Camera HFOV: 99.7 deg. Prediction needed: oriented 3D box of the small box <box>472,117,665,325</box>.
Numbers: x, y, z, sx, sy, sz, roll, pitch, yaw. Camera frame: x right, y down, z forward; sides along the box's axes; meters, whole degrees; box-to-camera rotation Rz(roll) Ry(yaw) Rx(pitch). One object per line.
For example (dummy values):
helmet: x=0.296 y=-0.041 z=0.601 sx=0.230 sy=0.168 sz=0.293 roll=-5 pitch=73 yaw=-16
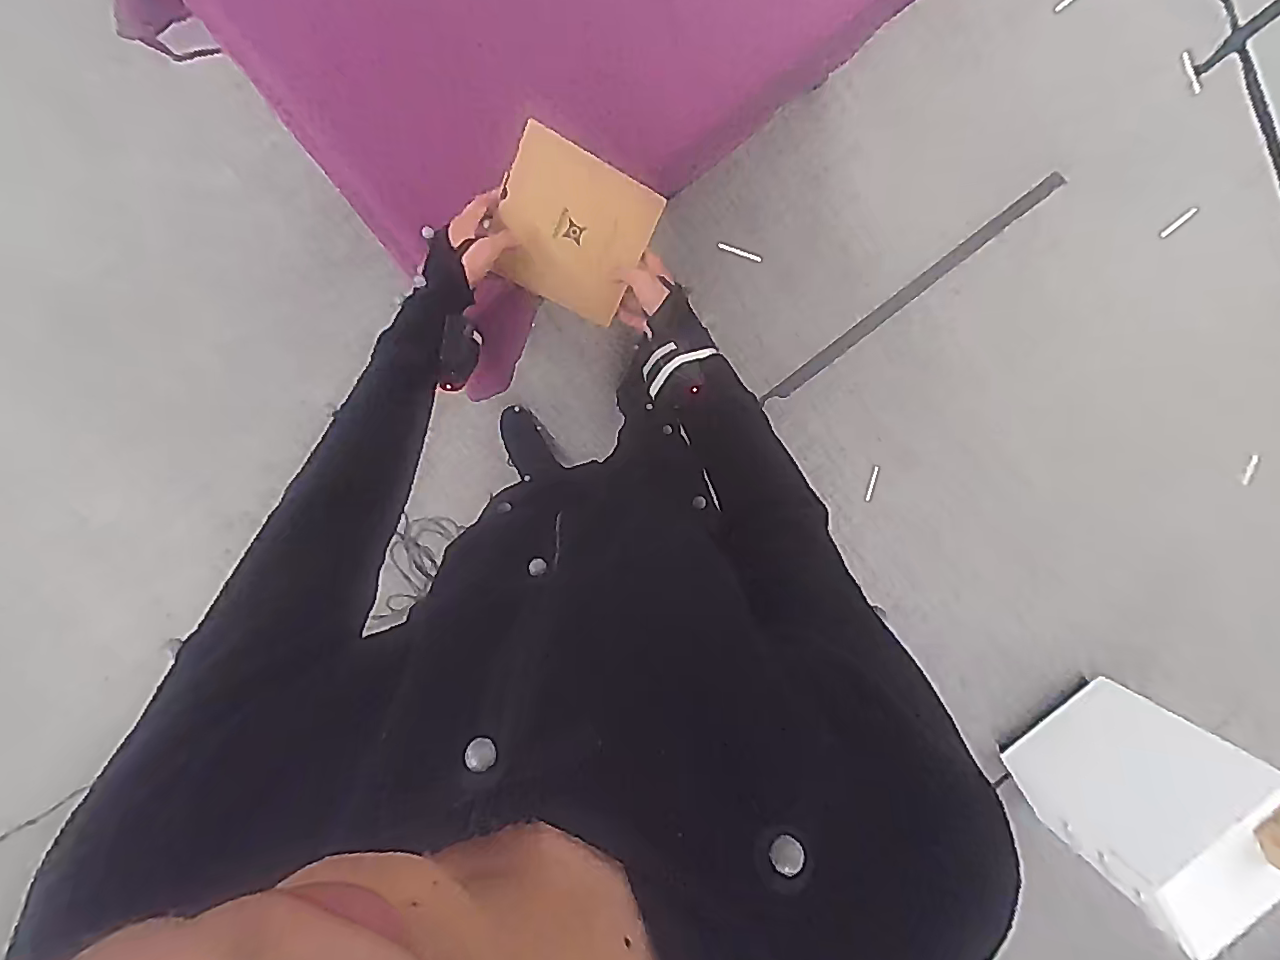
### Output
small box: x=-0.092 y=-0.317 z=0.697 sx=0.179 sy=0.176 sz=0.168 roll=23 pitch=106 yaw=-15

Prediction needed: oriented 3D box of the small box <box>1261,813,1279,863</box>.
small box: x=1.893 y=1.028 z=1.487 sx=0.168 sy=0.176 sz=0.179 roll=-38 pitch=106 yaw=0
